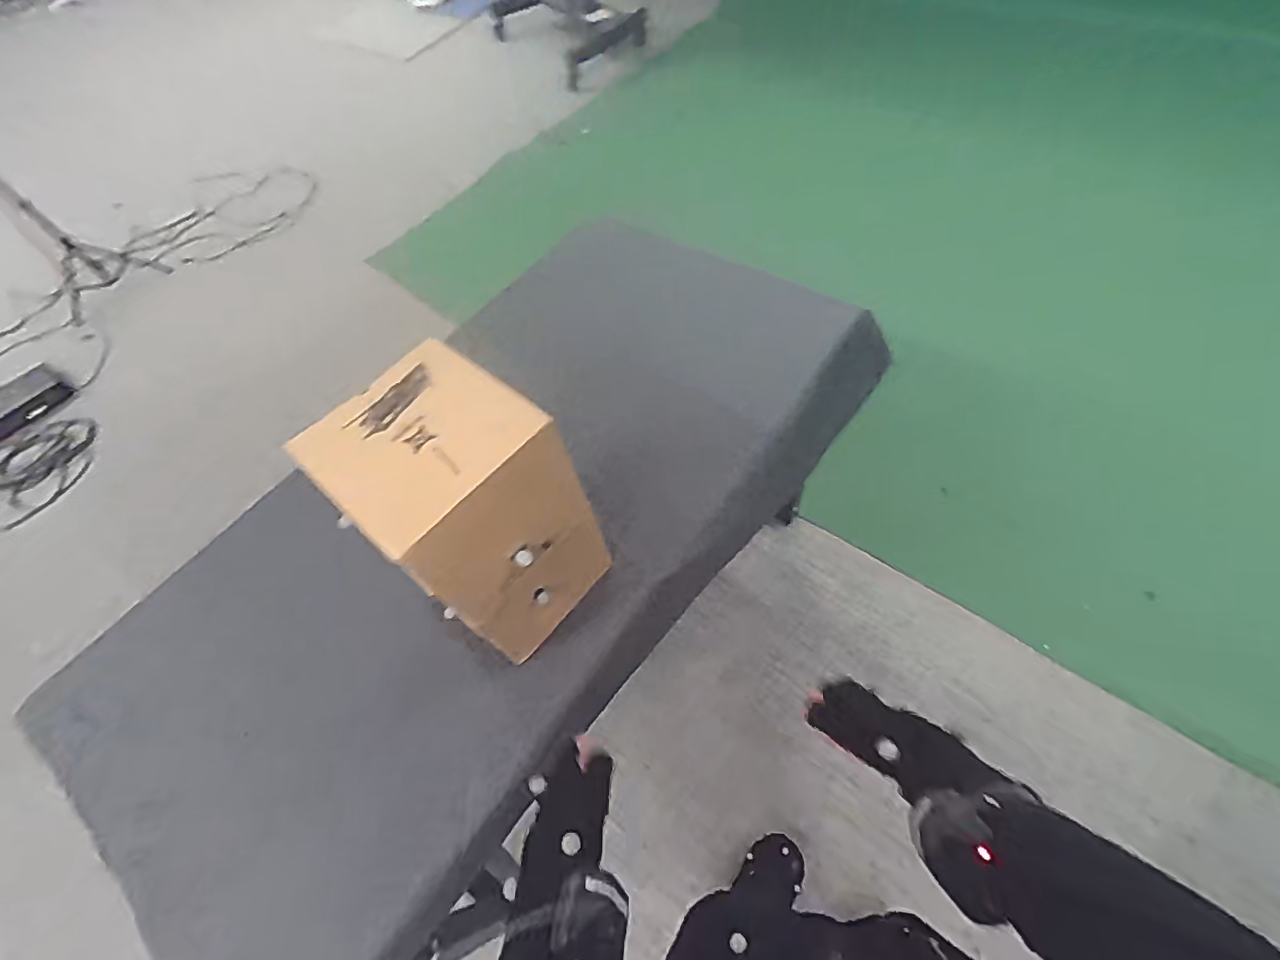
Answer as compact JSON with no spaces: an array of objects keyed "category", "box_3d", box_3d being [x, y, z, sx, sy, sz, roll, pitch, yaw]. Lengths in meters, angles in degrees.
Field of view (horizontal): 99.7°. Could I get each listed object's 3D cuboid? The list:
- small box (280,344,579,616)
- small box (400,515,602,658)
[{"category":"small box","box_3d":[-0.188,0.005,0.527,0.179,0.176,0.168,30,67,26]},{"category":"small box","box_3d":[-0.168,0.091,0.666,0.168,0.176,0.179,34,70,25]}]
